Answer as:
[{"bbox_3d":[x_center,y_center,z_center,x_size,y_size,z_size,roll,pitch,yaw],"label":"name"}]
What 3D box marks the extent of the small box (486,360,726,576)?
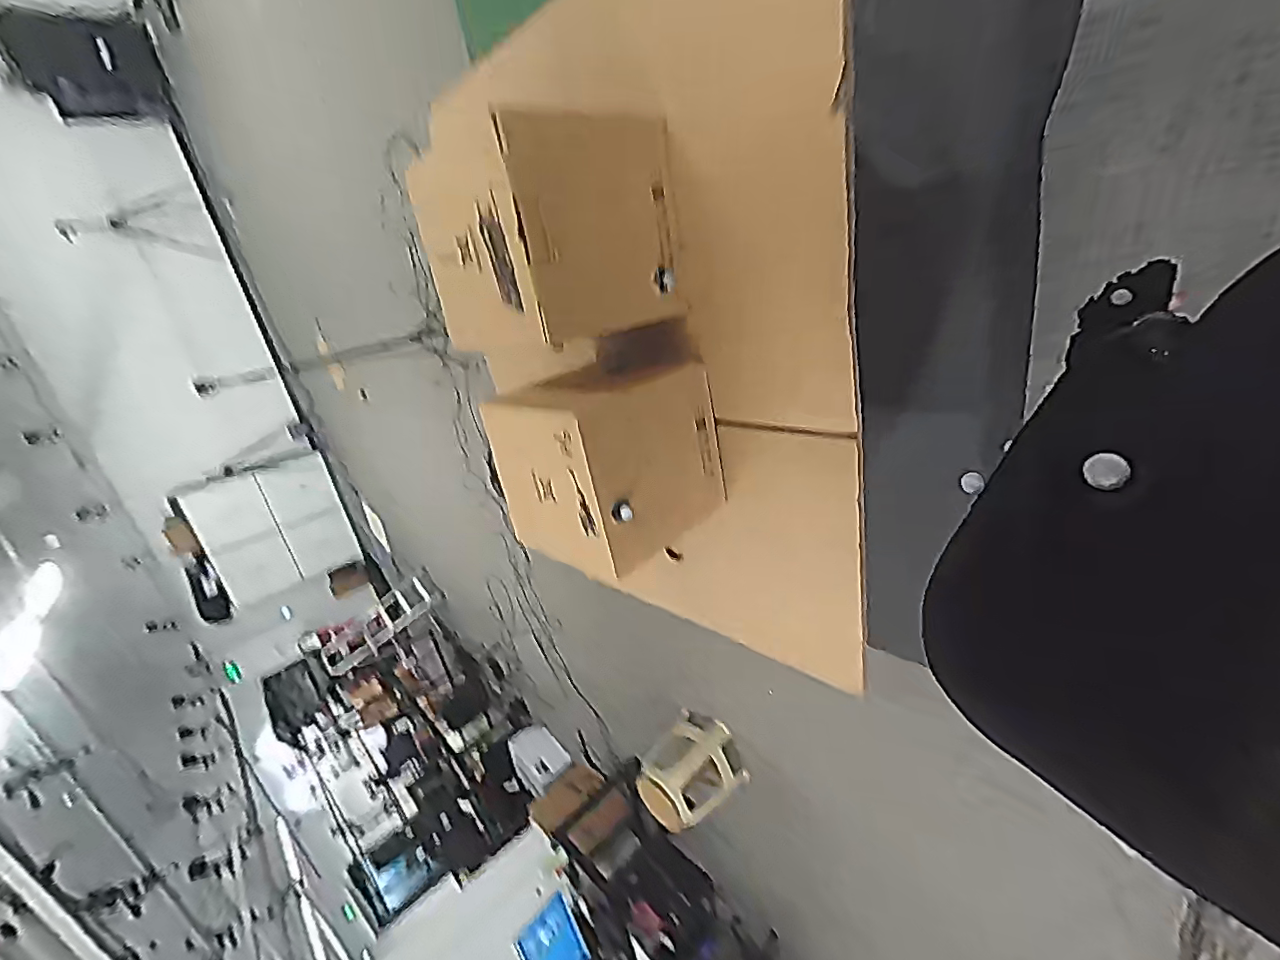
[{"bbox_3d":[-0.033,-0.027,0.585,0.179,0.176,0.168,13,124,47],"label":"small box"}]
